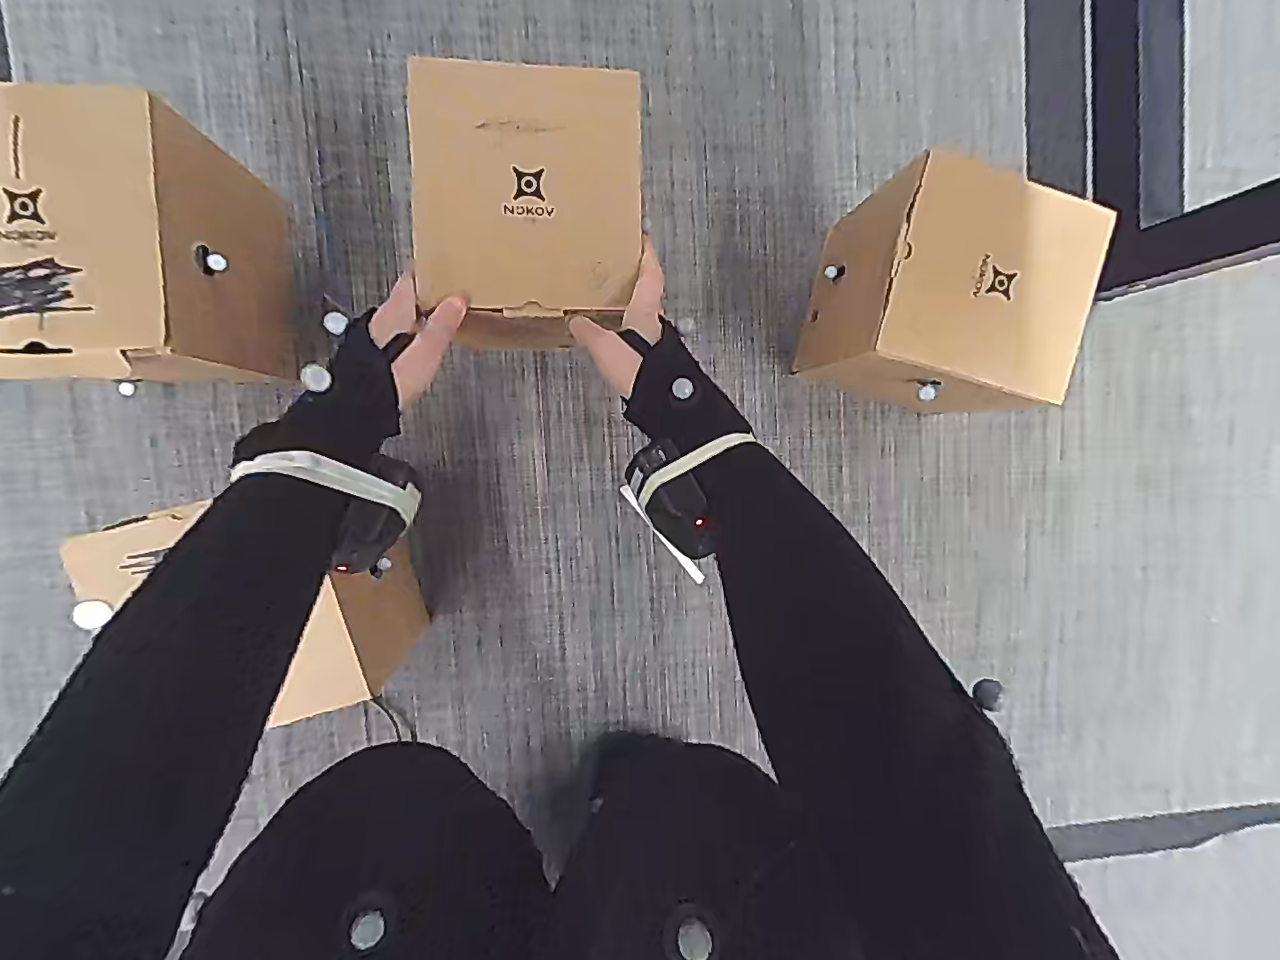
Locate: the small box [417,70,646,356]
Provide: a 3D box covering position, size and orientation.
[{"bbox_3d":[-0.085,-0.208,0.473,0.168,0.176,0.179,-1,93,-7],"label":"small box"}]

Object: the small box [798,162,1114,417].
[{"bbox_3d":[0.281,-0.160,0.519,0.179,0.176,0.168,14,92,-7],"label":"small box"}]

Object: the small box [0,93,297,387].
[{"bbox_3d":[-0.405,-0.169,0.436,0.168,0.176,0.179,-2,93,-7],"label":"small box"}]
